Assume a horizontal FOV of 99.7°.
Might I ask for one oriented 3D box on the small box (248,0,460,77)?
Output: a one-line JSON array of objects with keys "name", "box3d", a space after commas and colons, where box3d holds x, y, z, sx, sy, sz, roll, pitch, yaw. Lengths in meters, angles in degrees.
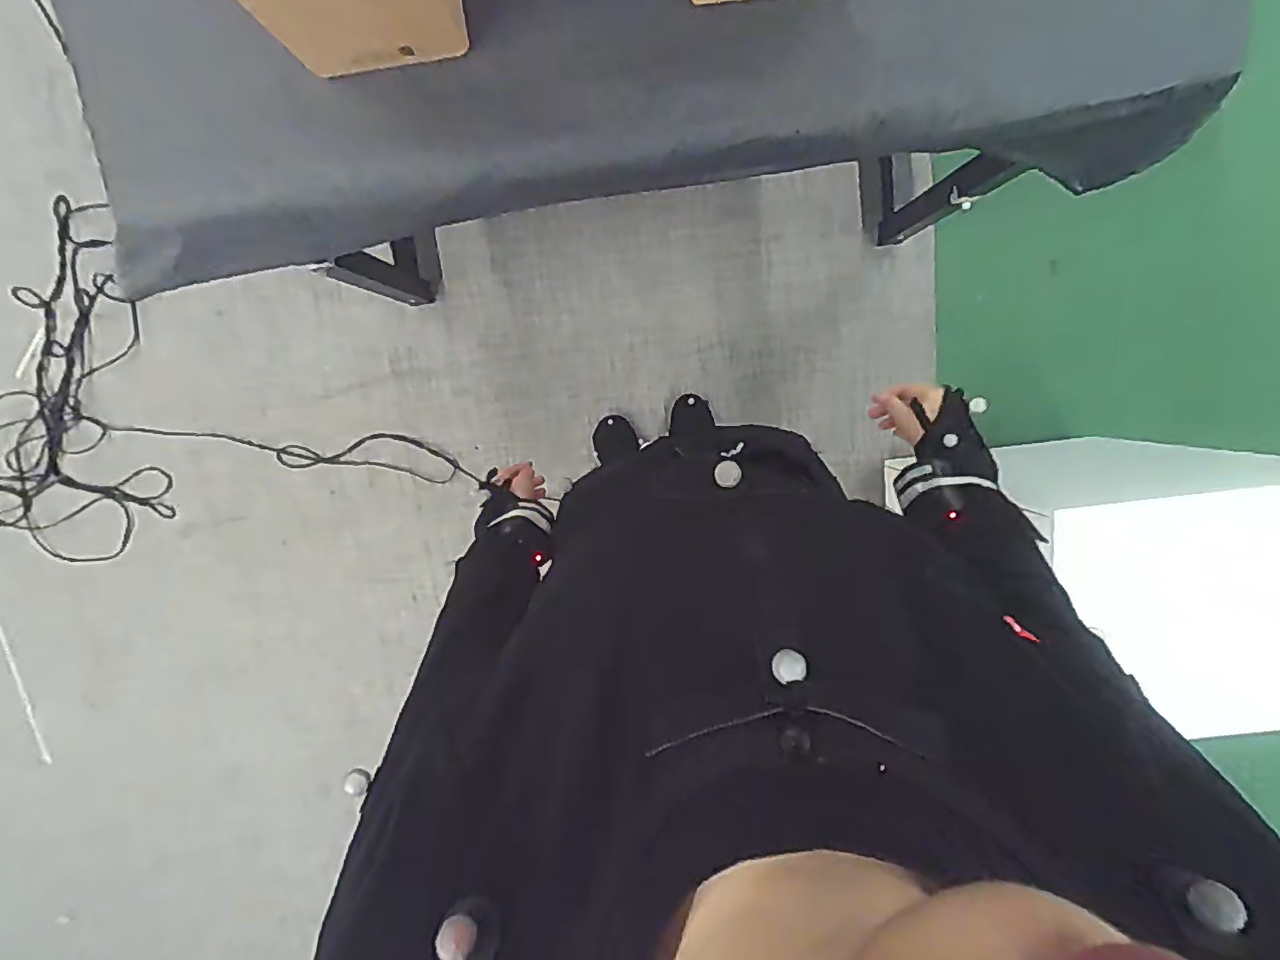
[{"name": "small box", "box3d": [-0.272, -0.498, 0.465, 0.168, 0.176, 0.179, -8, 99, 1]}]
